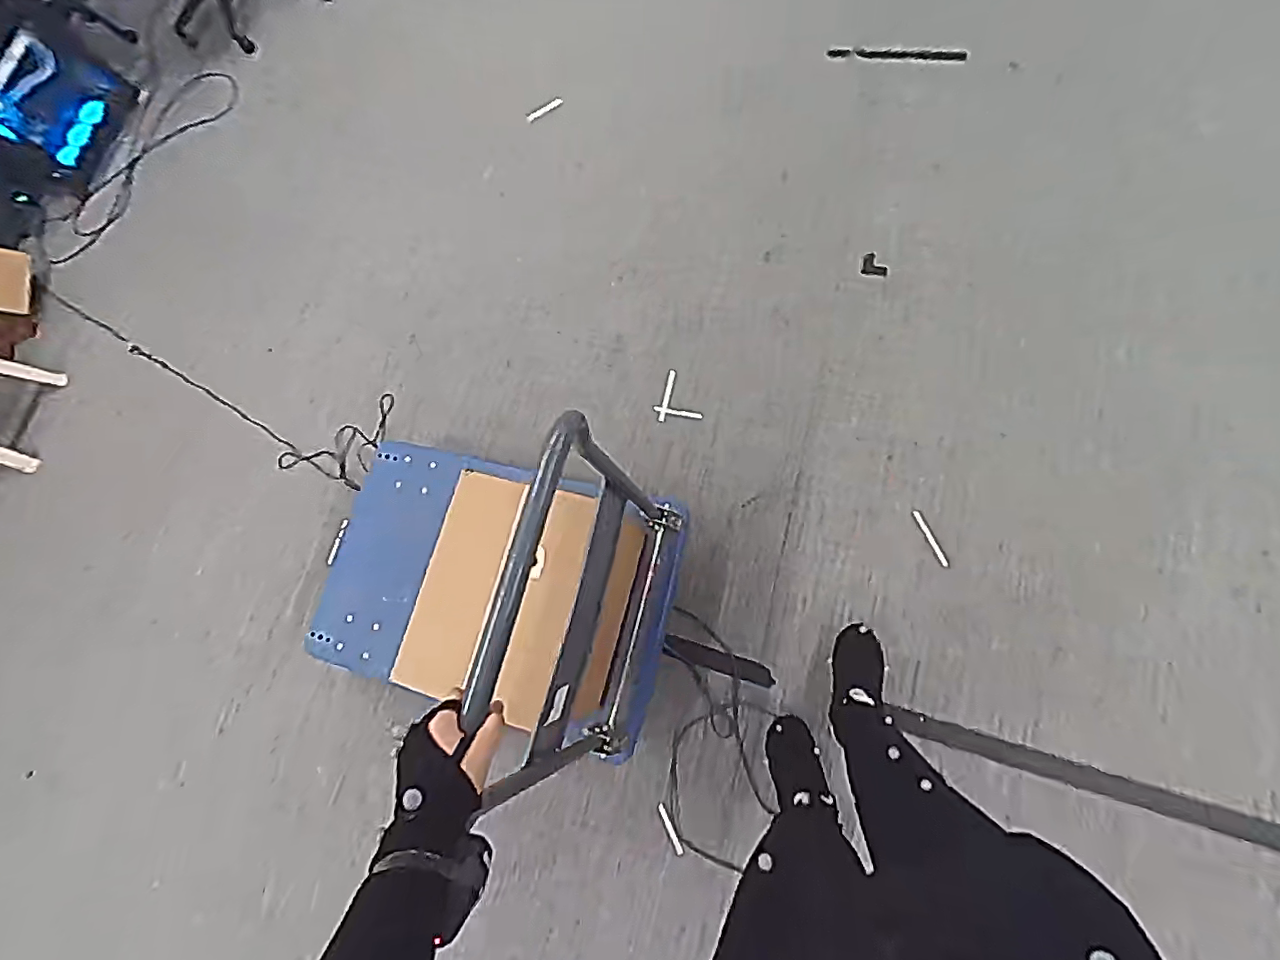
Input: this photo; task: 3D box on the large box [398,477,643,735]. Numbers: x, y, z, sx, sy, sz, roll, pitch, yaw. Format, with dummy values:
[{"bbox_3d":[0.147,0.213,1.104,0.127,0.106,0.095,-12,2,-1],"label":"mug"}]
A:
[{"bbox_3d":[-0.213,0.250,1.109,0.320,0.320,0.408,12,77,15],"label":"large box"}]
